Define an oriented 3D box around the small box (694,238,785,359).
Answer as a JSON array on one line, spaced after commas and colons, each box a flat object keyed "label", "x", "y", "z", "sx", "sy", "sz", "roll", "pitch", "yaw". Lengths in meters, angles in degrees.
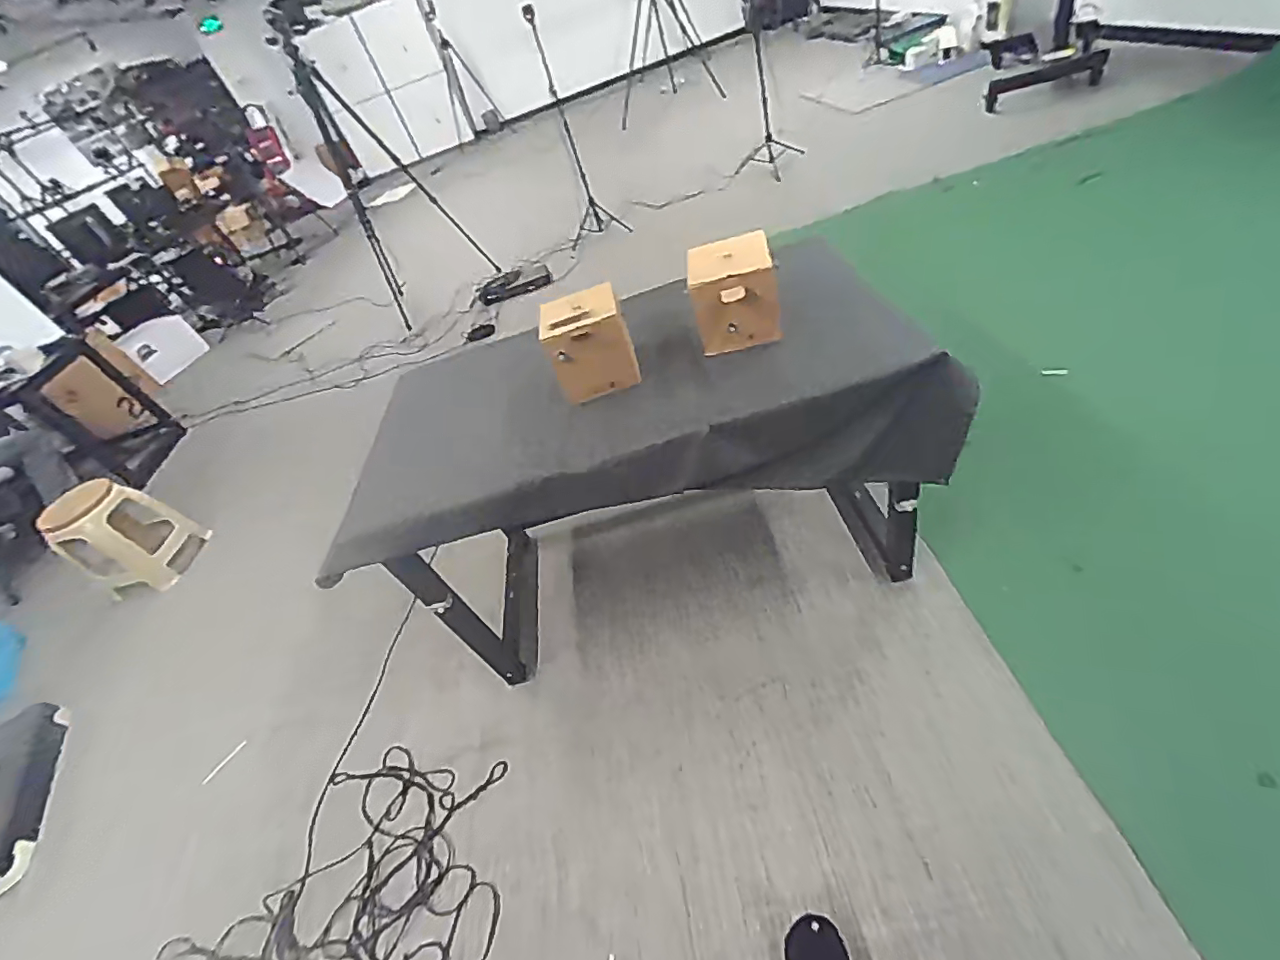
[{"label": "small box", "x": 0.211, "y": -0.384, "z": 1.156, "sx": 0.168, "sy": 0.176, "sz": 0.179, "roll": -9, "pitch": 44, "yaw": 14}]
